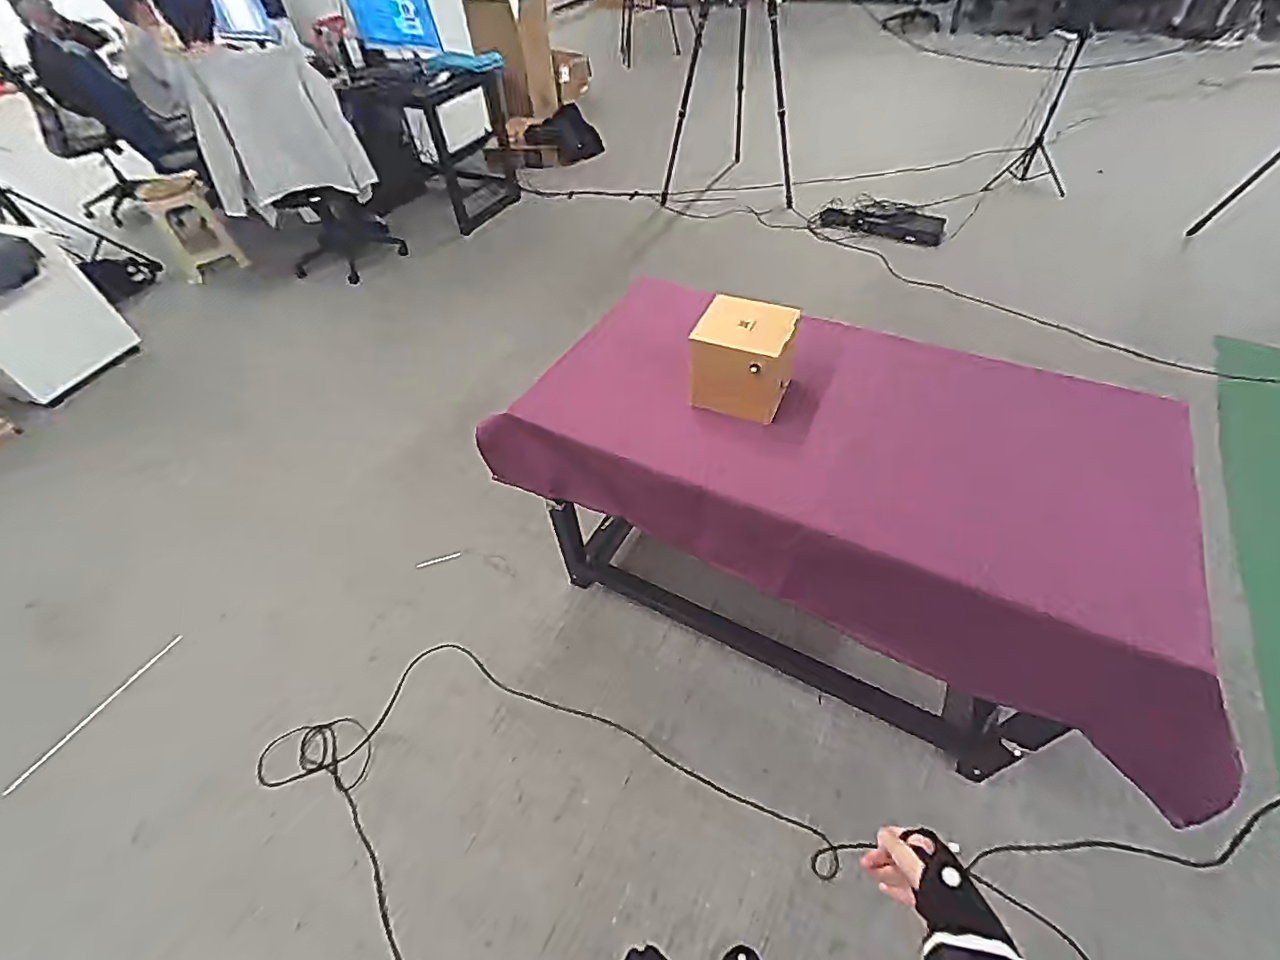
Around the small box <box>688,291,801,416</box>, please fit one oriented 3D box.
[{"bbox_3d":[0.205,-0.252,1.090,0.179,0.176,0.168,18,54,18],"label":"small box"}]
